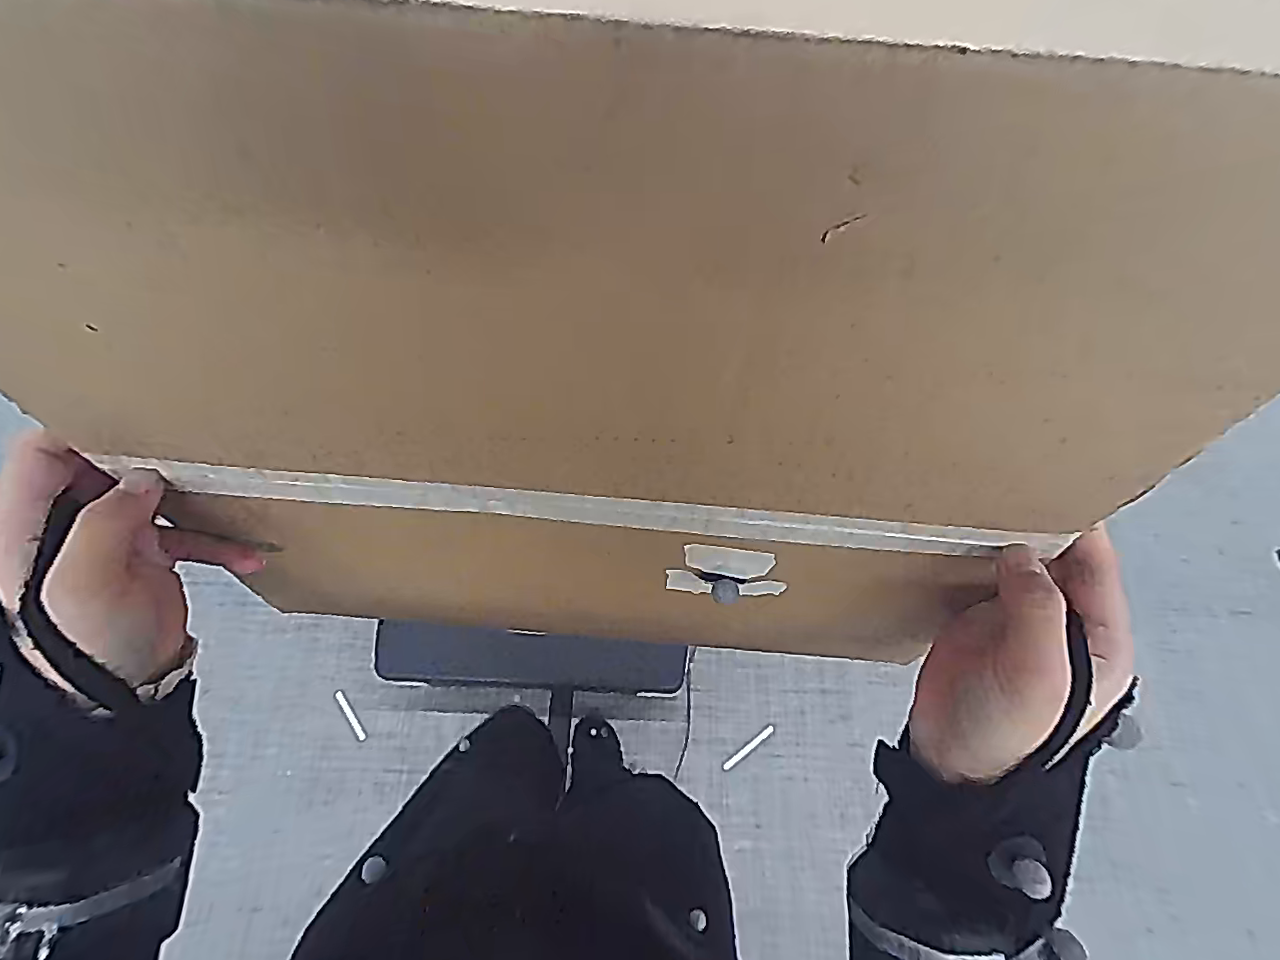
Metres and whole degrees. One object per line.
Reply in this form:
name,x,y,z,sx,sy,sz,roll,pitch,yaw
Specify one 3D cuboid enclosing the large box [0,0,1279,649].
large box,-0.016,-0.113,0.323,0.408,0.320,0.320,4,54,0
